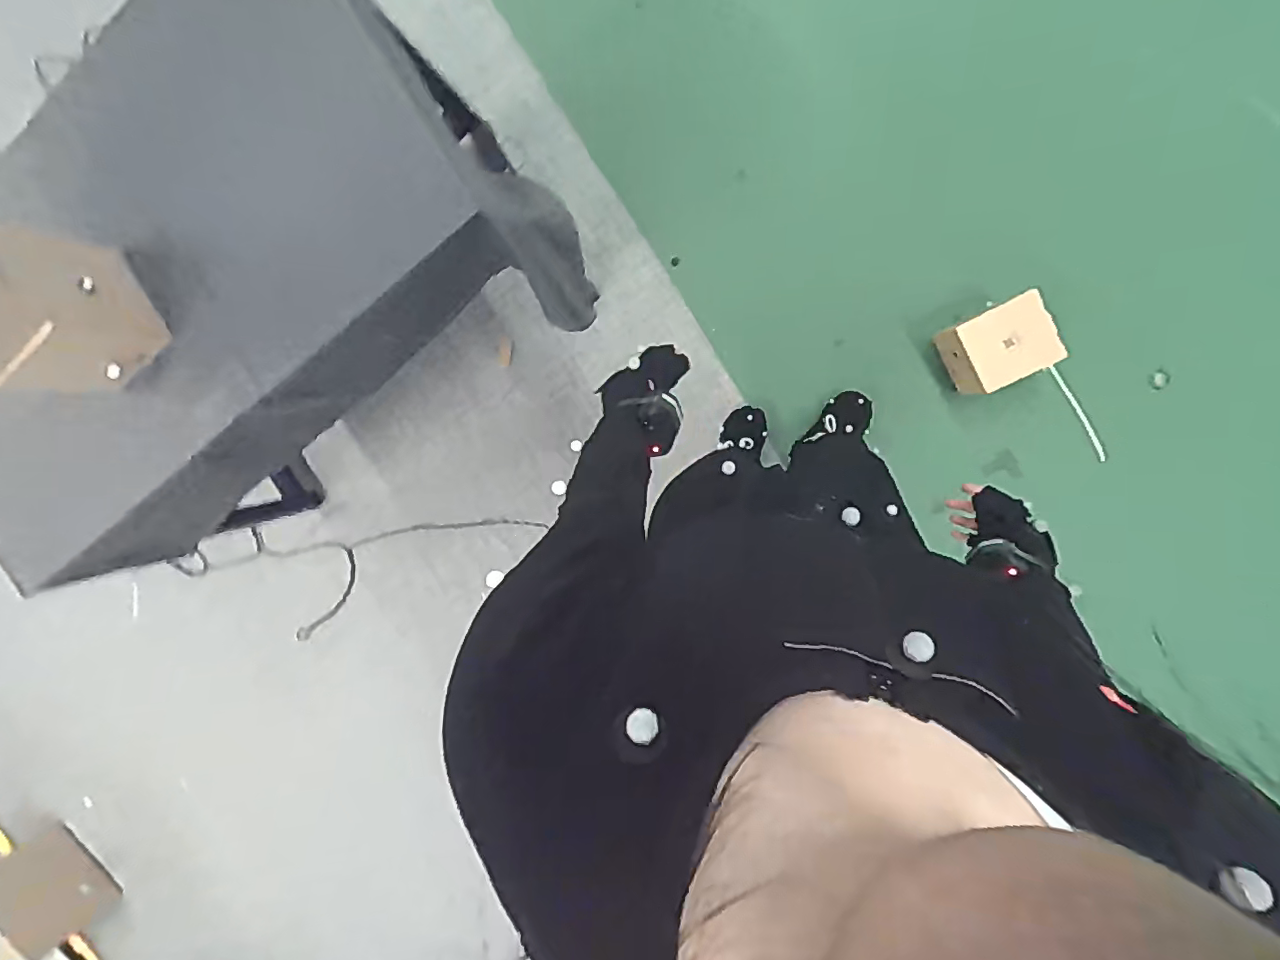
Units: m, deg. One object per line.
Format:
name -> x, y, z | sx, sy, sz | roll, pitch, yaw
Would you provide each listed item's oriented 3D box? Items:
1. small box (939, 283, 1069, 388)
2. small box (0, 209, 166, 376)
small box -> 0.819, -0.320, 1.243 | 0.179, 0.176, 0.168 | -27, 92, 13
small box -> -0.909, -0.276, 0.838 | 0.168, 0.176, 0.179 | -31, 92, 14
